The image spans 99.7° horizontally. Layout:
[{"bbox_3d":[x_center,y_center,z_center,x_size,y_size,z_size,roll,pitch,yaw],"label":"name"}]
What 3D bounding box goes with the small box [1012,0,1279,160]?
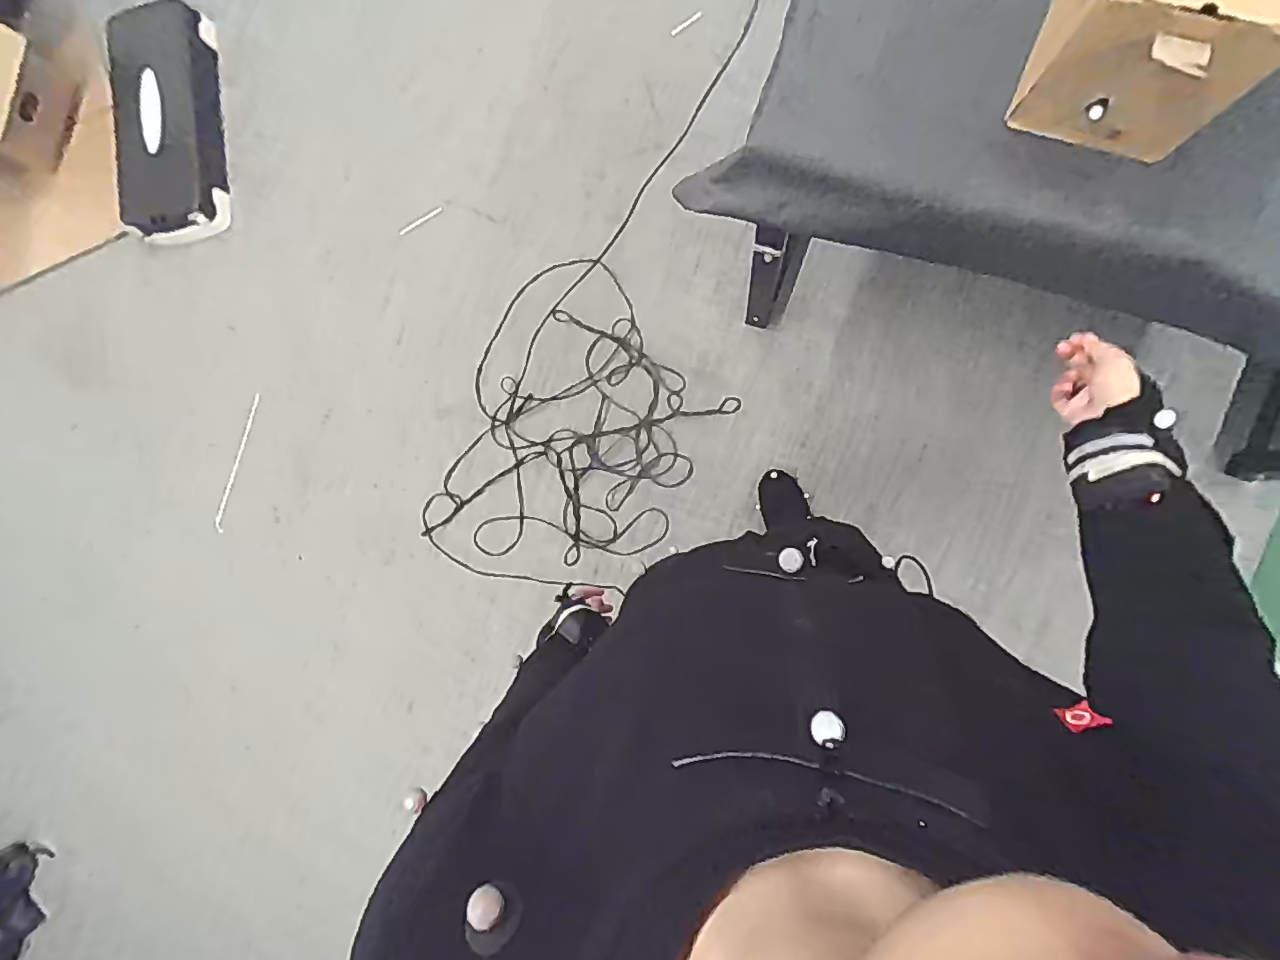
[{"bbox_3d":[0.514,-0.466,0.534,0.168,0.176,0.179,20,91,8],"label":"small box"}]
